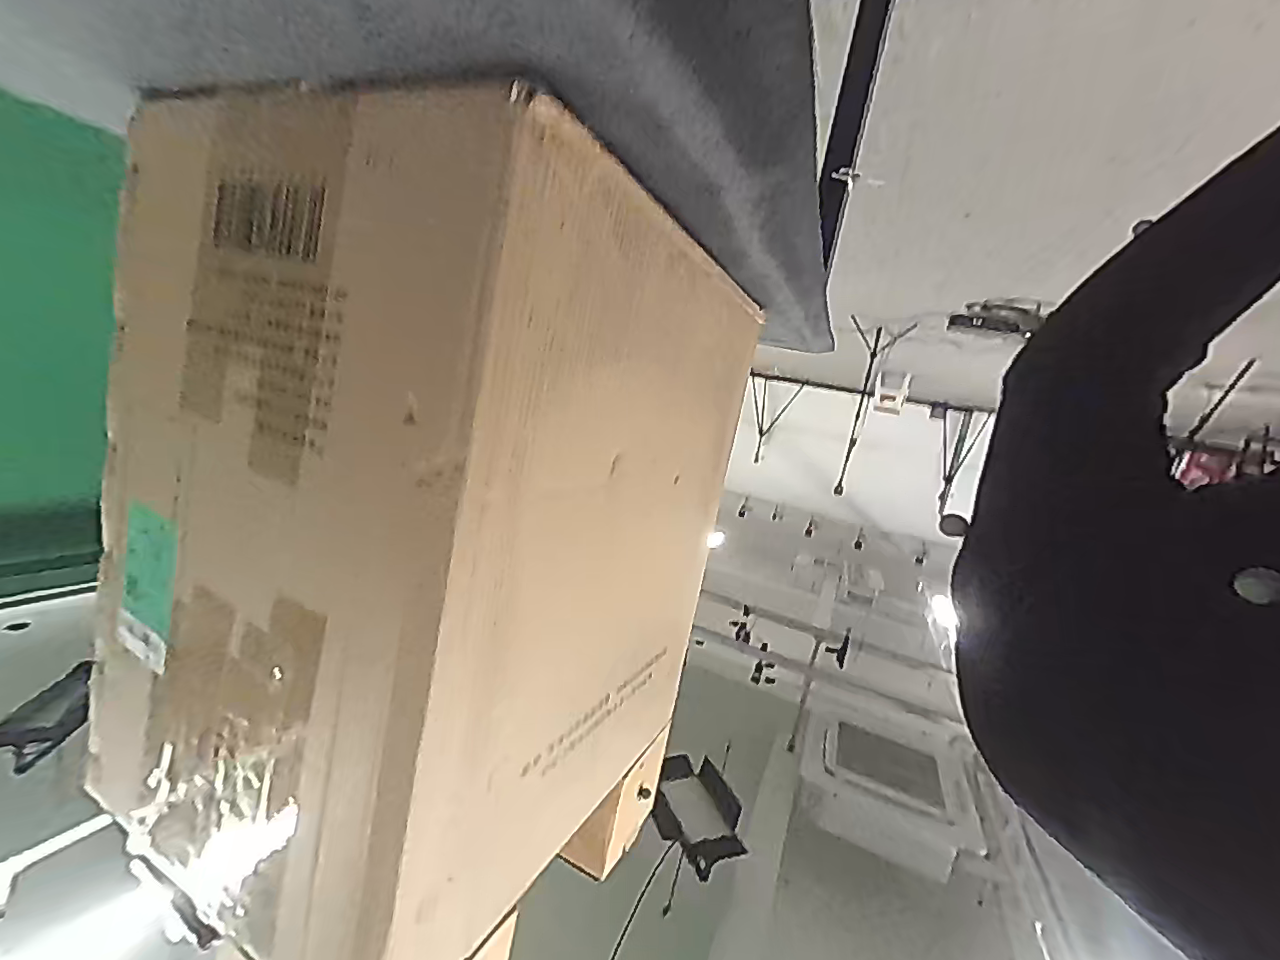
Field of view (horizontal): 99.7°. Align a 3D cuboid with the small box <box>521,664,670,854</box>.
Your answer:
[{"bbox_3d":[-0.064,0.422,0.851,0.179,0.176,0.168,15,-168,25],"label":"small box"}]

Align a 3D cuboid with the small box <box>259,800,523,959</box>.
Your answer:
[{"bbox_3d":[-0.233,0.452,0.513,0.179,0.176,0.168,15,-170,25],"label":"small box"}]
